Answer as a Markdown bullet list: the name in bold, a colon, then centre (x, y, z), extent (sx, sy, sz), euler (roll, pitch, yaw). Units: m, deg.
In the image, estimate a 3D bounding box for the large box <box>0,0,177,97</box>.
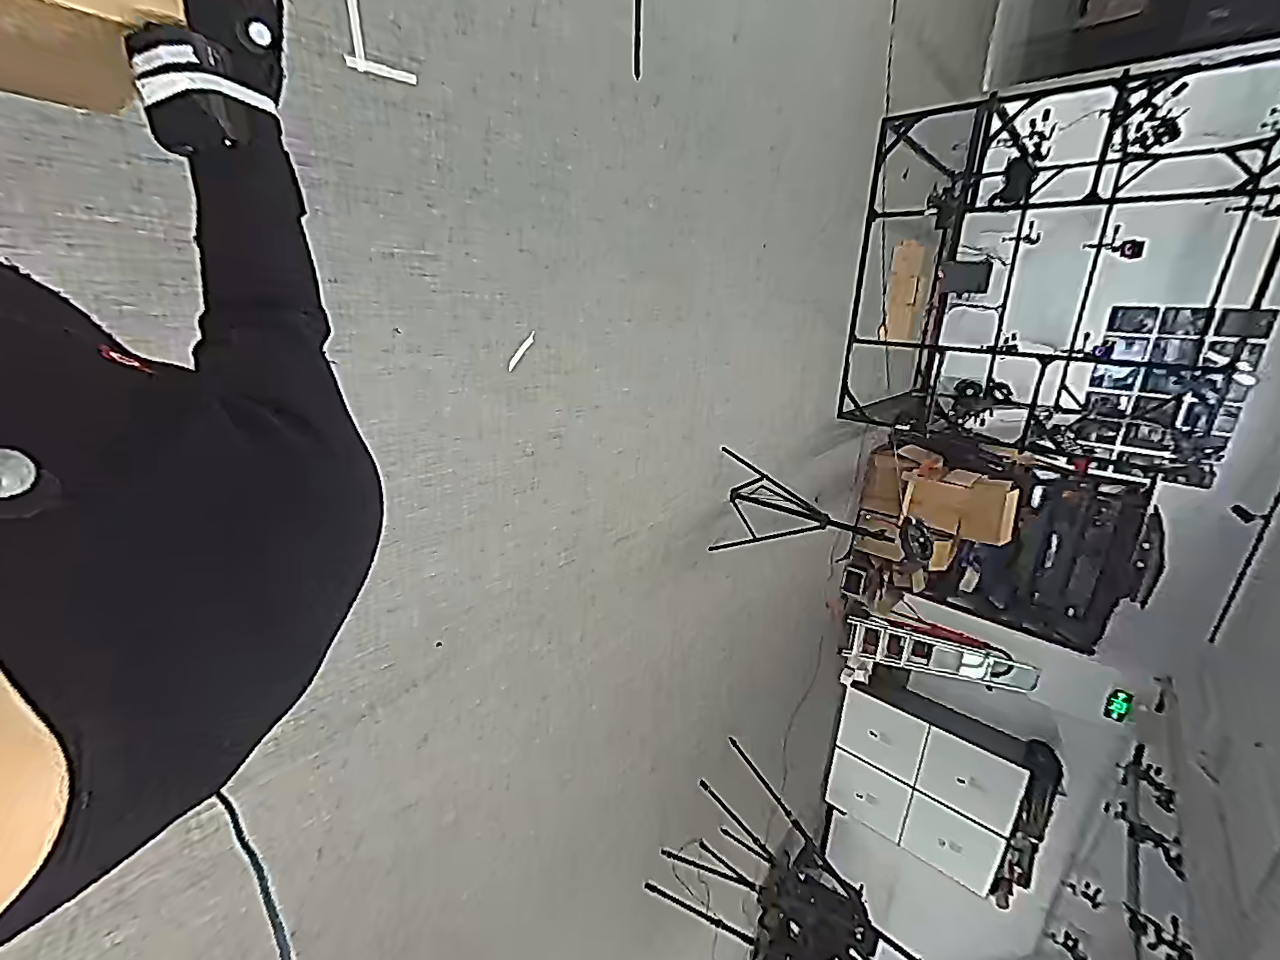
- **large box**: centre (-0.554, -0.450, 0.271), extent (0.408, 0.320, 0.320), euler (-18, 119, -47)
